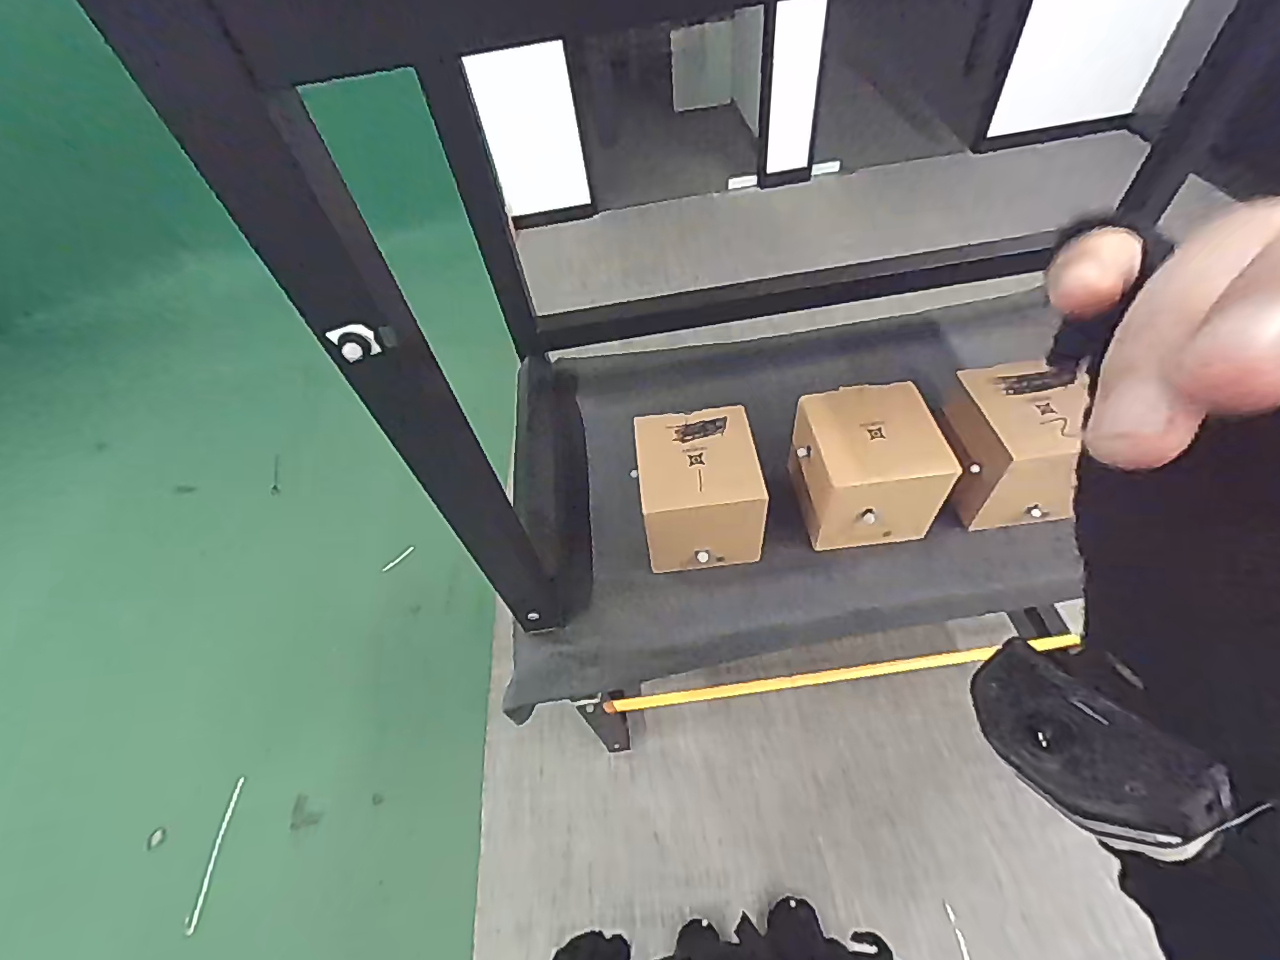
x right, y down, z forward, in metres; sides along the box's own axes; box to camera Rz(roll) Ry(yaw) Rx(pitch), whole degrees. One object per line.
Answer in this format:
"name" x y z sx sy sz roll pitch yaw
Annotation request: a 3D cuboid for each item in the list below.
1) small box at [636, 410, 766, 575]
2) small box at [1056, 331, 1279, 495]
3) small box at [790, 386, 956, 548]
"small box" 0.085 0.021 0.814 0.168 0.176 0.179 -7 52 3
"small box" 0.774 -0.090 0.797 0.168 0.176 0.179 -6 51 4
"small box" 0.329 -0.012 0.805 0.168 0.176 0.179 -7 51 3
